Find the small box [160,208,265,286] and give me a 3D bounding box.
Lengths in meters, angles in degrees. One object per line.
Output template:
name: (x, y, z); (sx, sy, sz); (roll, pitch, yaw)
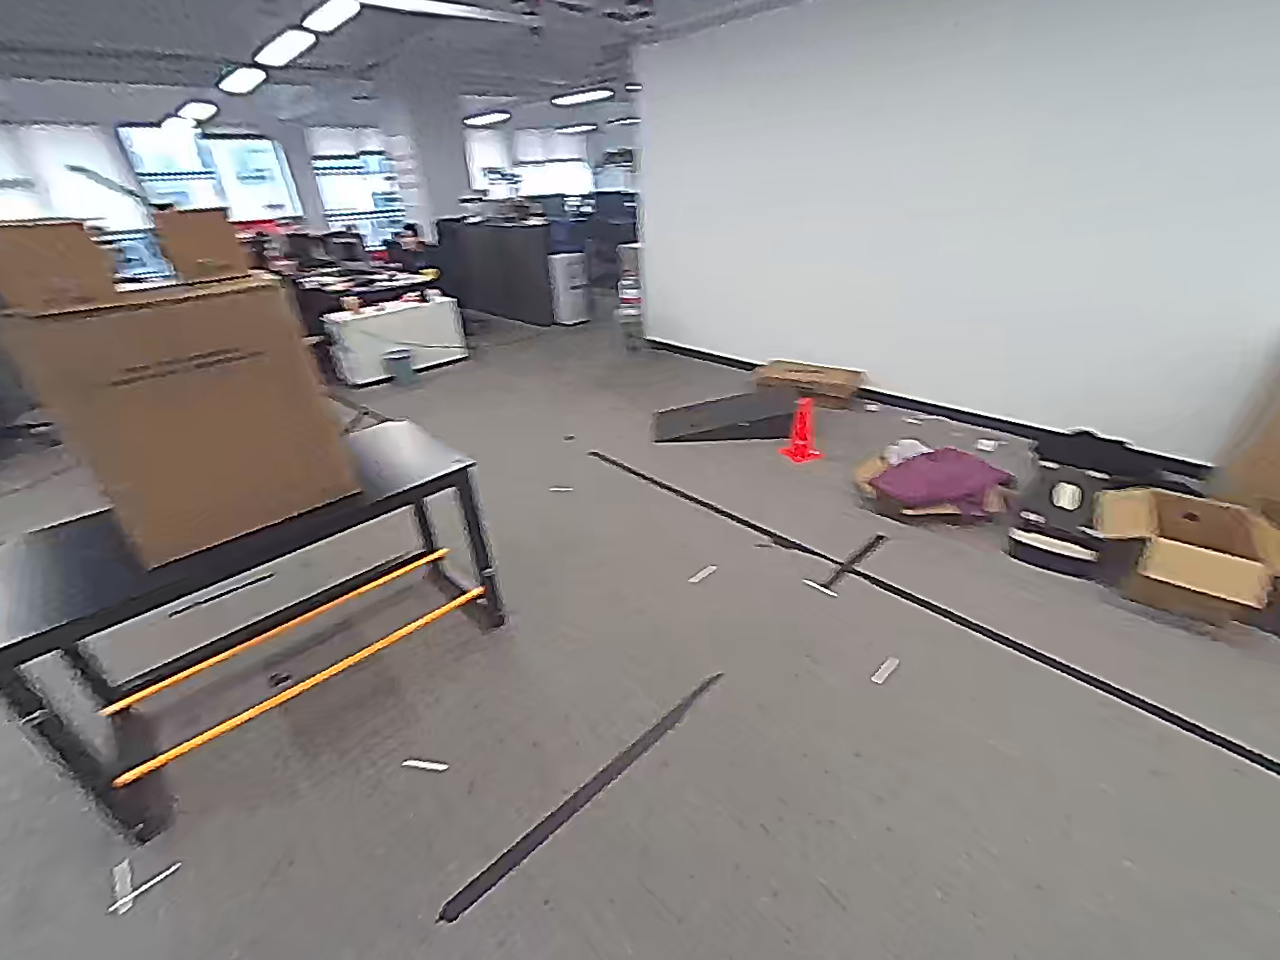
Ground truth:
small box: (-1.131, -0.618, 1.434); (0.168, 0.176, 0.179); (-27, 36, -32)
